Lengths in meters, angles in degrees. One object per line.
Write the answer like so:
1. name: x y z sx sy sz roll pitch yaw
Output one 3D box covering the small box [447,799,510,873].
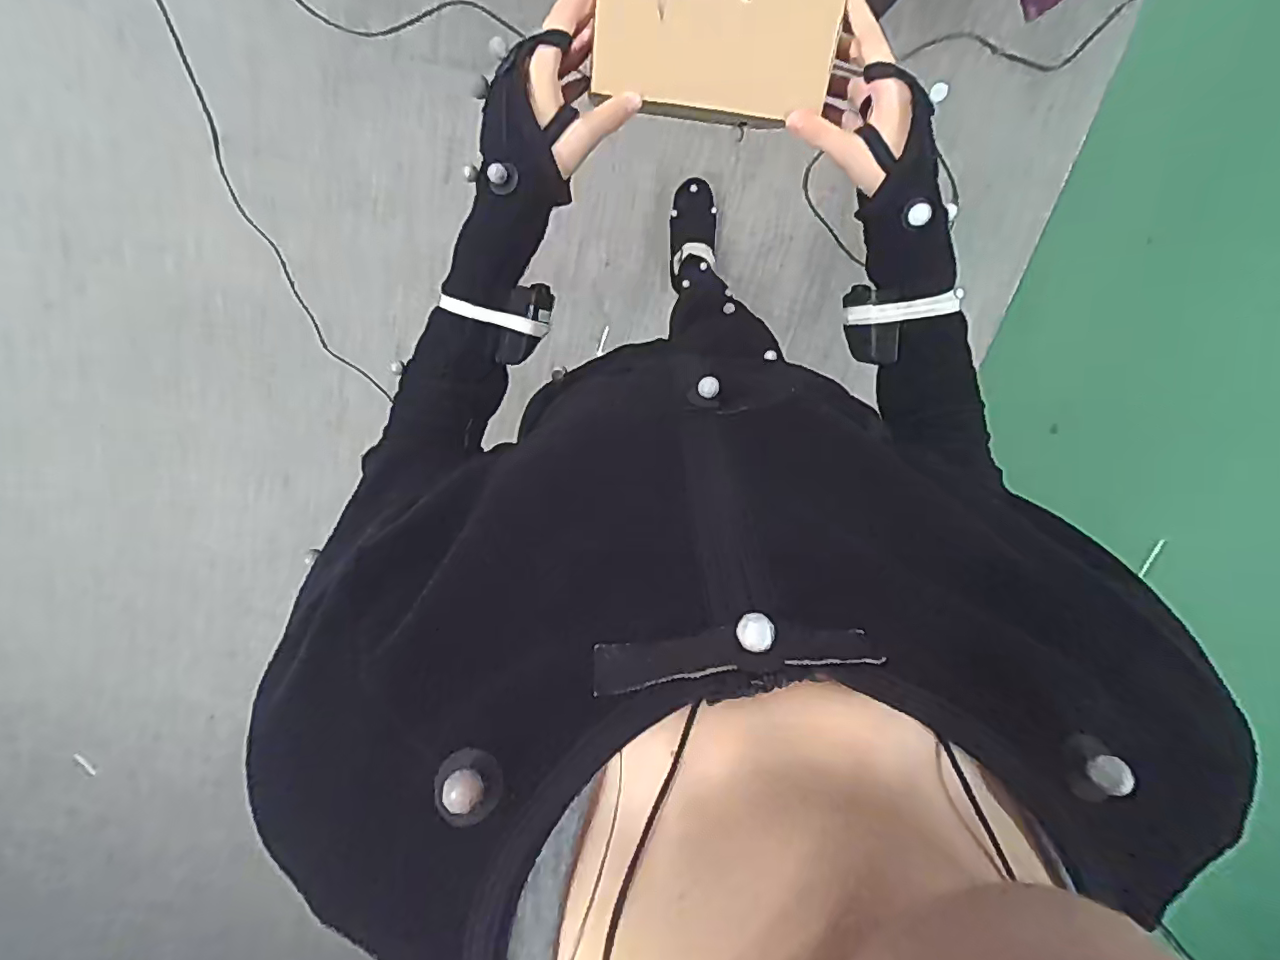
1. small box: -0.537 1.194 1.764 0.168 0.176 0.179 23 104 -9
